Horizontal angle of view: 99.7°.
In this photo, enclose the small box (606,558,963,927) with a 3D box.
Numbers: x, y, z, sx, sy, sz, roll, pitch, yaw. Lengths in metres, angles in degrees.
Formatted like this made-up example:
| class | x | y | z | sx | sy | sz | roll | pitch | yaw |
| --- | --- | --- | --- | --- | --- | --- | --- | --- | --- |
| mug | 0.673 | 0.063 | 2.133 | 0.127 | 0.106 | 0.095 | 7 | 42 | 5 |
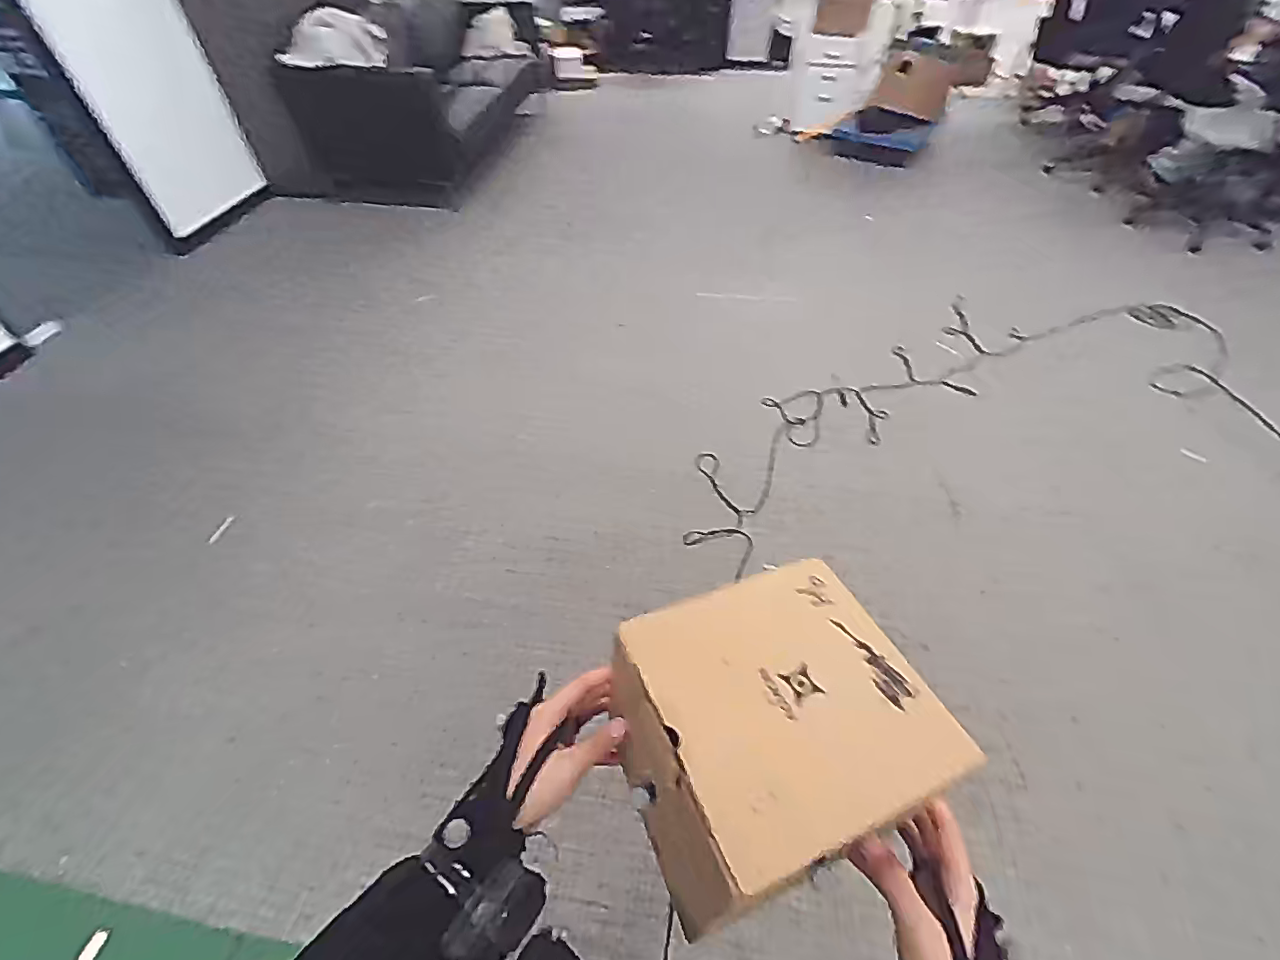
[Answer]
| class | x | y | z | sx | sy | sz | roll | pitch | yaw |
| --- | --- | --- | --- | --- | --- | --- | --- | --- | --- |
| small box | 0.084 | 0.193 | 0.405 | 0.179 | 0.176 | 0.168 | -15 | 47 | -20 |
